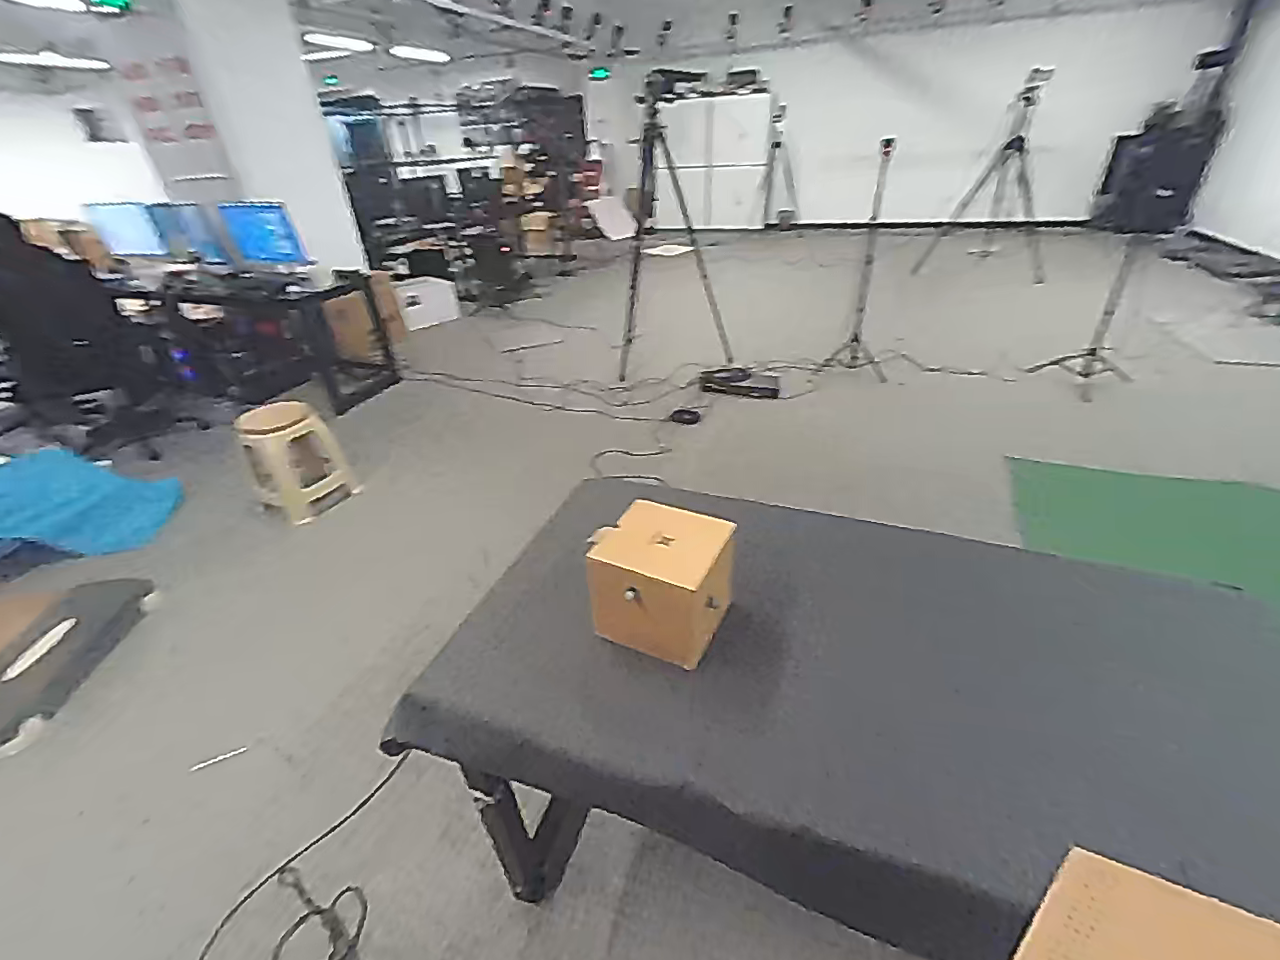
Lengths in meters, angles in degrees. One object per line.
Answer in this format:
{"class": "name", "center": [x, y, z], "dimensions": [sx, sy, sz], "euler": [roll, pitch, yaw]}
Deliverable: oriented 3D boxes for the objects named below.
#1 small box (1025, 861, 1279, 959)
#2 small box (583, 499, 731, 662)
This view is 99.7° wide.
{"class": "small box", "center": [0.329, 0.361, 0.289], "dimensions": [0.179, 0.168, 0.176], "euler": [-35, 2, -24]}
{"class": "small box", "center": [0.032, 0.158, 0.855], "dimensions": [0.179, 0.176, 0.168], "euler": [13, 35, 24]}
